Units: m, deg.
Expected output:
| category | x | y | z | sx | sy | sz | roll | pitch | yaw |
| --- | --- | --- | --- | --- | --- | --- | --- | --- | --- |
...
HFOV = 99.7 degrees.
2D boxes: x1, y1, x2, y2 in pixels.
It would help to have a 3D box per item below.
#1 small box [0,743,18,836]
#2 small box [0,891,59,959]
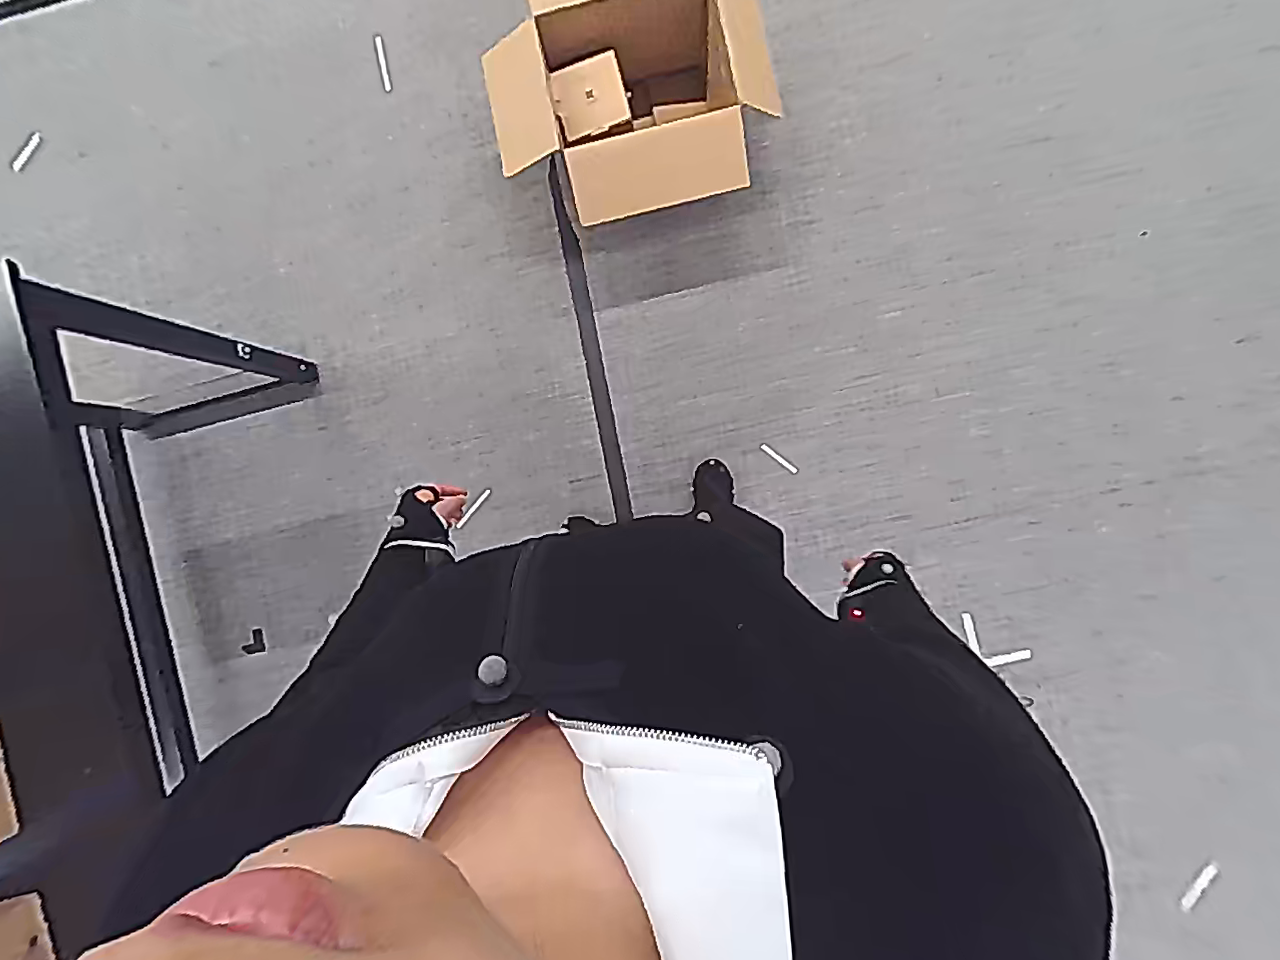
| category | x | y | z | sx | sy | sz | roll | pitch | yaw |
| --- | --- | --- | --- | --- | --- | --- | --- | --- | --- |
| small box | -1.048 | 0.466 | 0.751 | 0.168 | 0.176 | 0.179 | -13 | 90 | 4 |
| small box | -0.986 | 0.726 | 0.753 | 0.179 | 0.176 | 0.168 | -15 | 90 | 2 |
